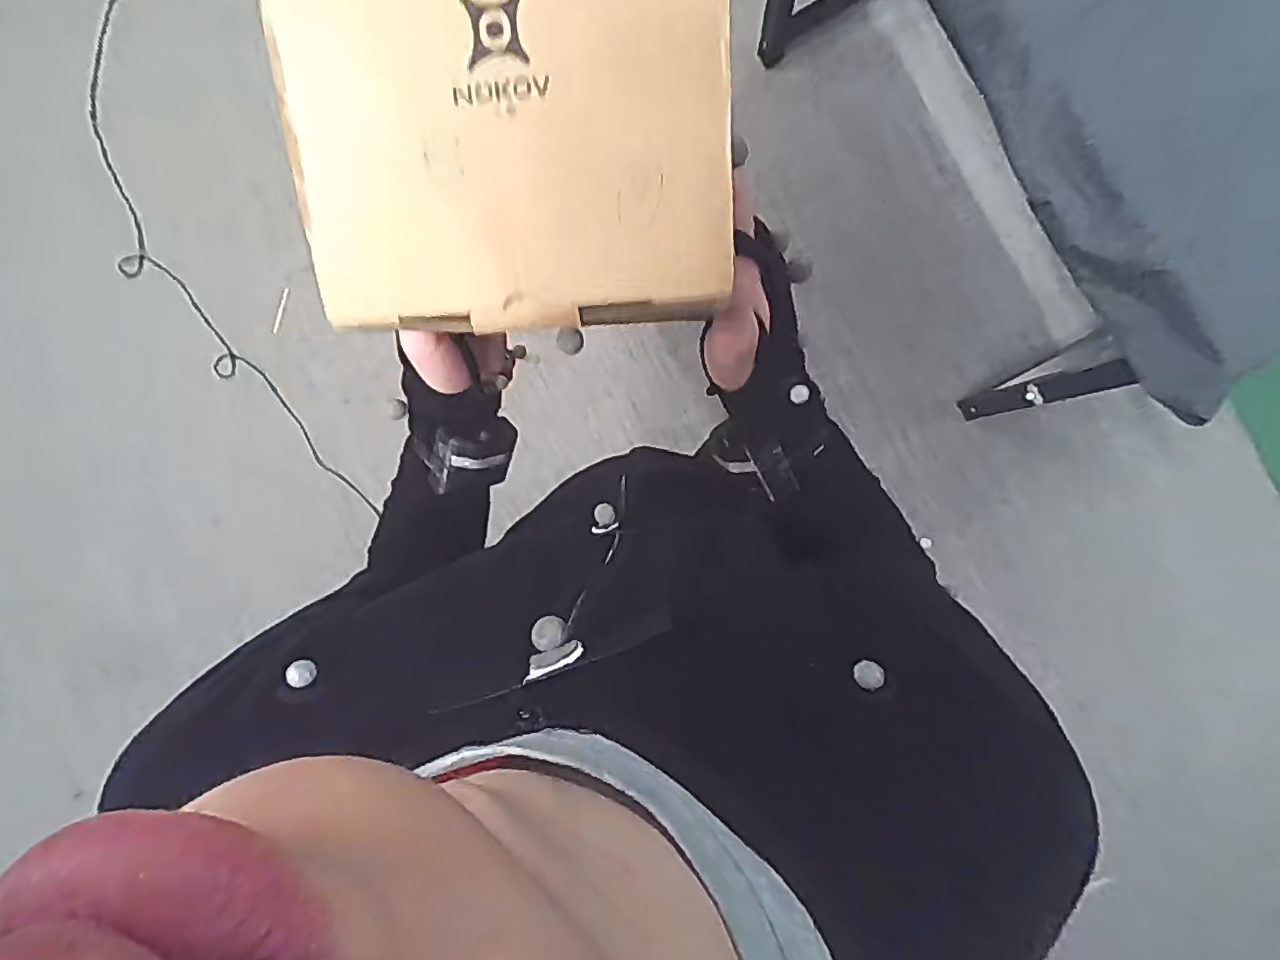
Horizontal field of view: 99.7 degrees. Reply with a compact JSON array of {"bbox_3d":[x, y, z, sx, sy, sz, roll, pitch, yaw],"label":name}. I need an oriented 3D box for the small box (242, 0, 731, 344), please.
[{"bbox_3d":[-0.046,-0.164,0.260,0.168,0.176,0.179,-2,107,3],"label":"small box"}]
